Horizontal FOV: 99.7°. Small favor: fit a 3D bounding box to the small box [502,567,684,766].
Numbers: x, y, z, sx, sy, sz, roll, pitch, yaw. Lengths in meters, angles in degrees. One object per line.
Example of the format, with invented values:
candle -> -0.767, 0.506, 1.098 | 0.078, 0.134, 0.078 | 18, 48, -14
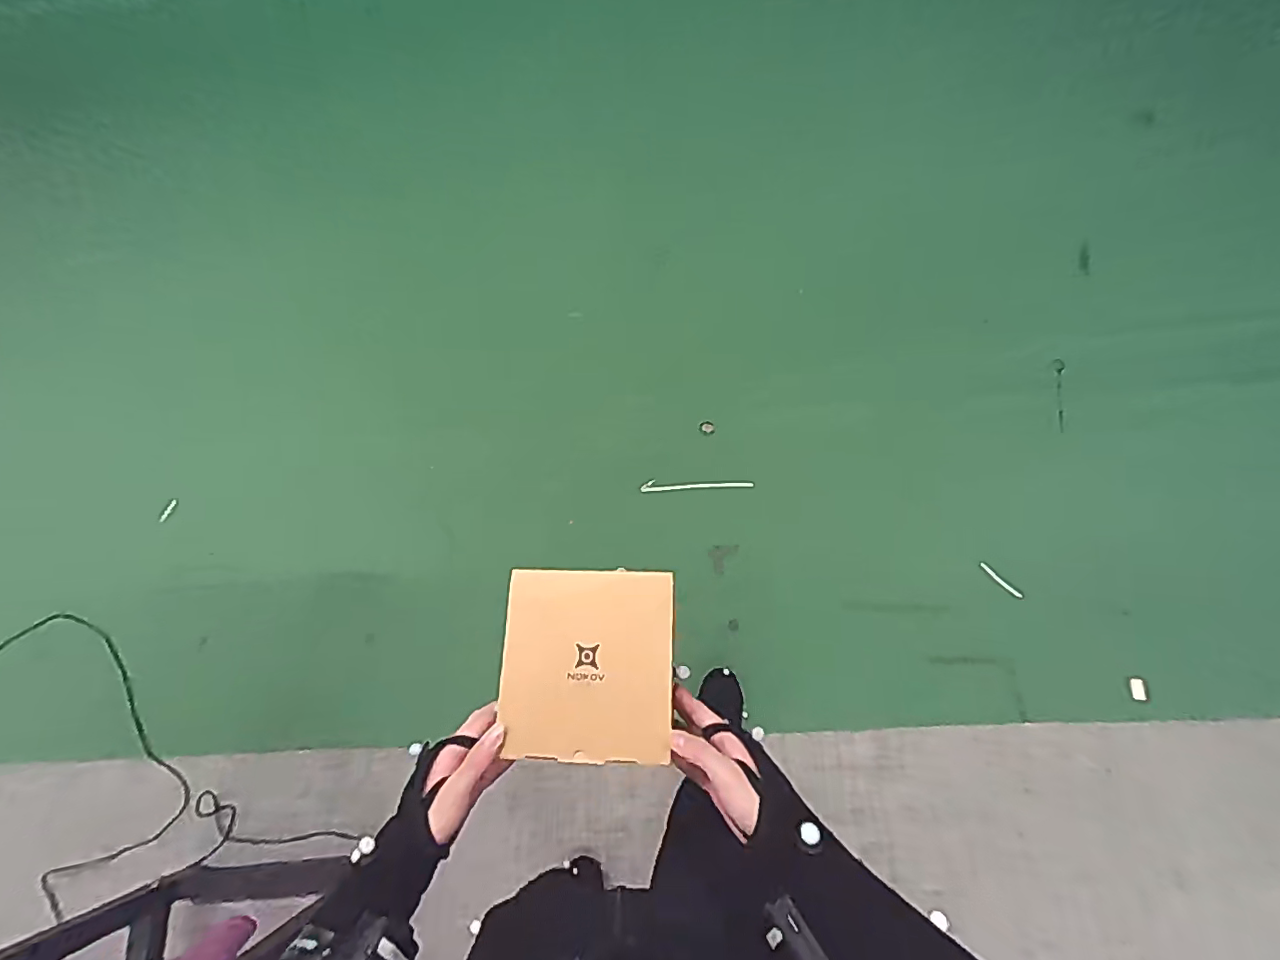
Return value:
small box -> -0.038, 0.197, 0.591 | 0.168, 0.176, 0.179 | 1, 72, 4
